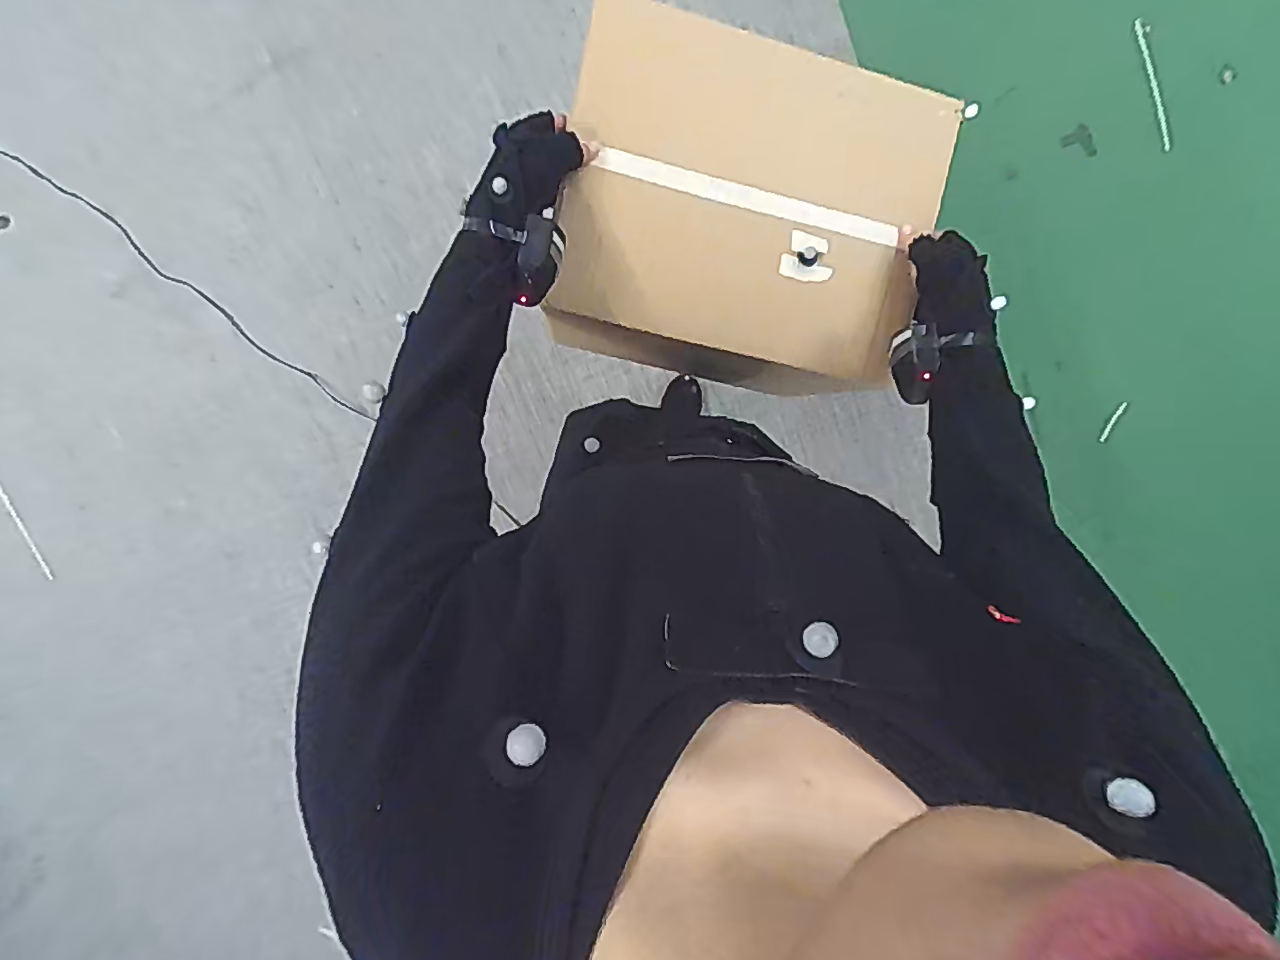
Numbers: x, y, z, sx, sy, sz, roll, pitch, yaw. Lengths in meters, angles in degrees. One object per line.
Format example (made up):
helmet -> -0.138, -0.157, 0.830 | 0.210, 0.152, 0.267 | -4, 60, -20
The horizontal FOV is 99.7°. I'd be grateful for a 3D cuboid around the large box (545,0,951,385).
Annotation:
large box -> 0.099, -0.321, 0.717 | 0.408, 0.320, 0.320 | 10, 96, -9
